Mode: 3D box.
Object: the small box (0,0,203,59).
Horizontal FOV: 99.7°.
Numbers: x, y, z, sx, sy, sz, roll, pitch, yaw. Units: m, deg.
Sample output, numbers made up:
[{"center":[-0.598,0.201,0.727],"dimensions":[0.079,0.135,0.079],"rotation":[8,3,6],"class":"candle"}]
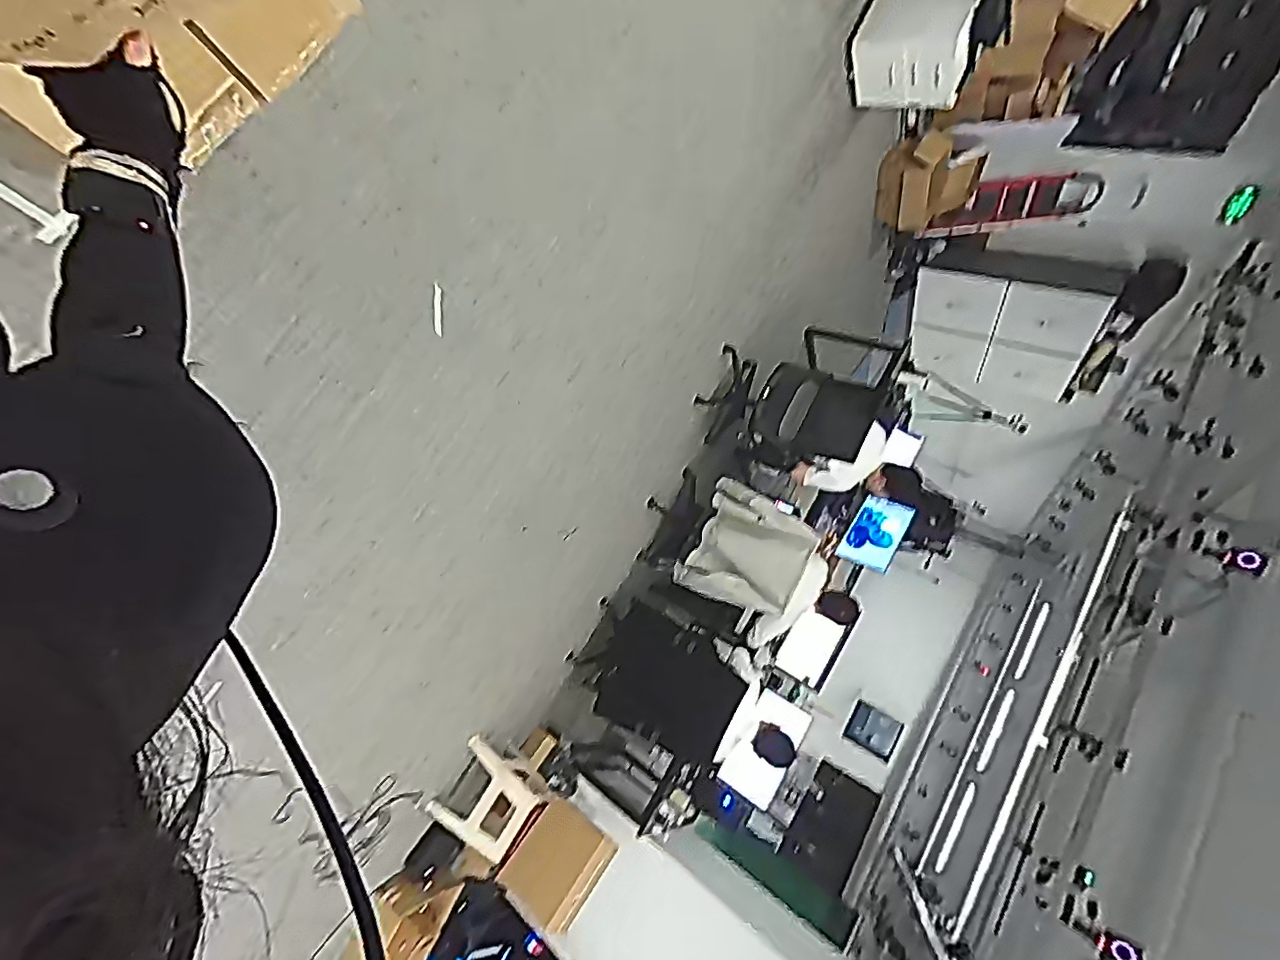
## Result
[{"center":[-0.367,-0.388,0.321],"dimensions":[0.168,0.179,0.176],"rotation":[-26,132,2],"class":"small box"}]
